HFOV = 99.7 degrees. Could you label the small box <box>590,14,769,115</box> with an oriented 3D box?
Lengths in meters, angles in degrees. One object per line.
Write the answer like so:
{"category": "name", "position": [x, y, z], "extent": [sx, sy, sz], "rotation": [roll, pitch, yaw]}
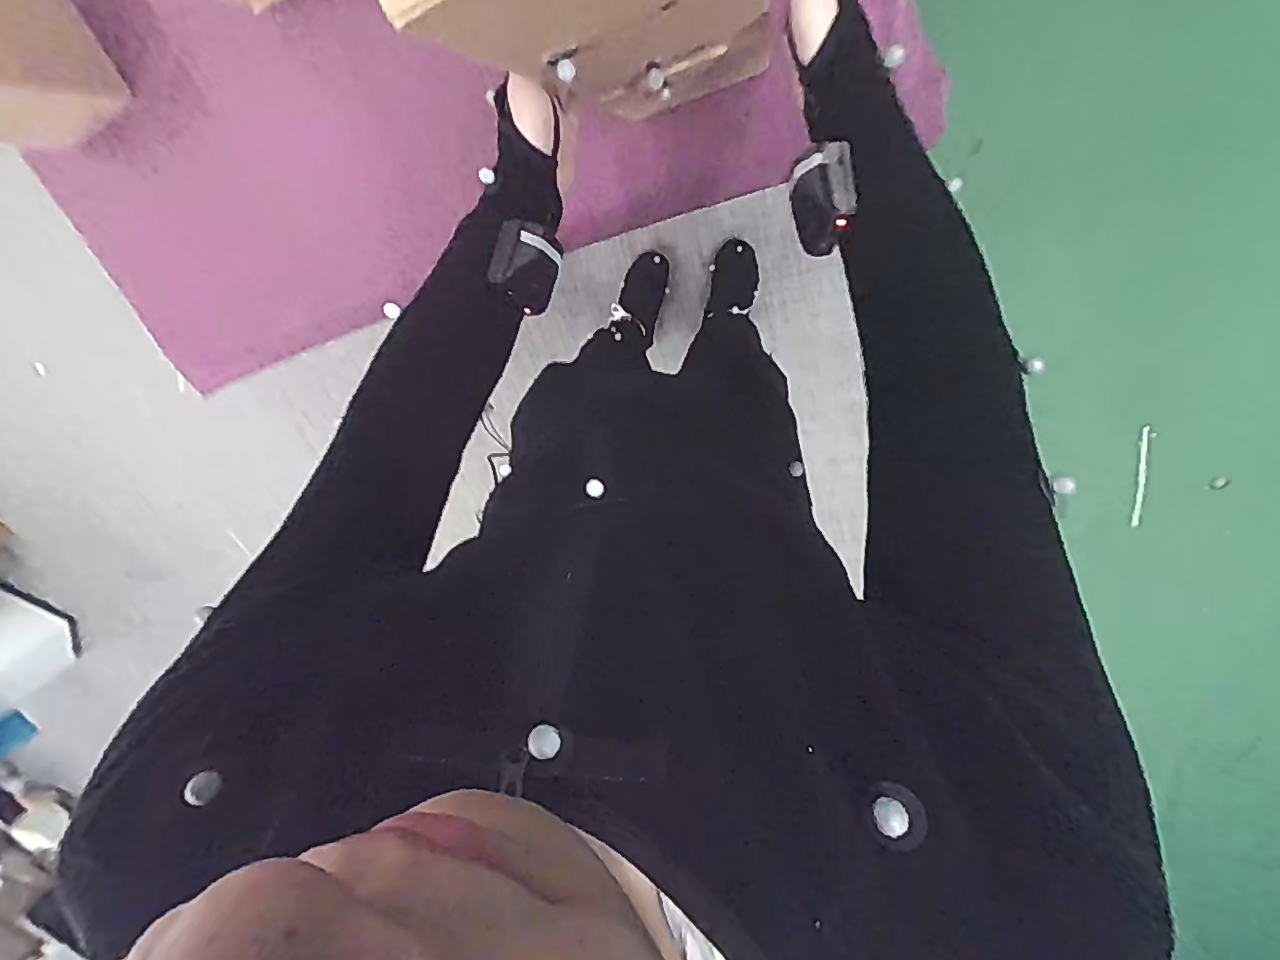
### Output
{"category": "small box", "position": [0.027, -0.482, 0.519], "extent": [0.168, 0.176, 0.179], "rotation": [-9, 117, 18]}

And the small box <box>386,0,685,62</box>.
{"category": "small box", "position": [-0.040, -0.322, 0.241], "extent": [0.168, 0.176, 0.179], "rotation": [-11, 115, 20]}

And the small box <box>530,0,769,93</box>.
{"category": "small box", "position": [-0.007, -0.406, 0.378], "extent": [0.168, 0.176, 0.179], "rotation": [-10, 118, 19]}
